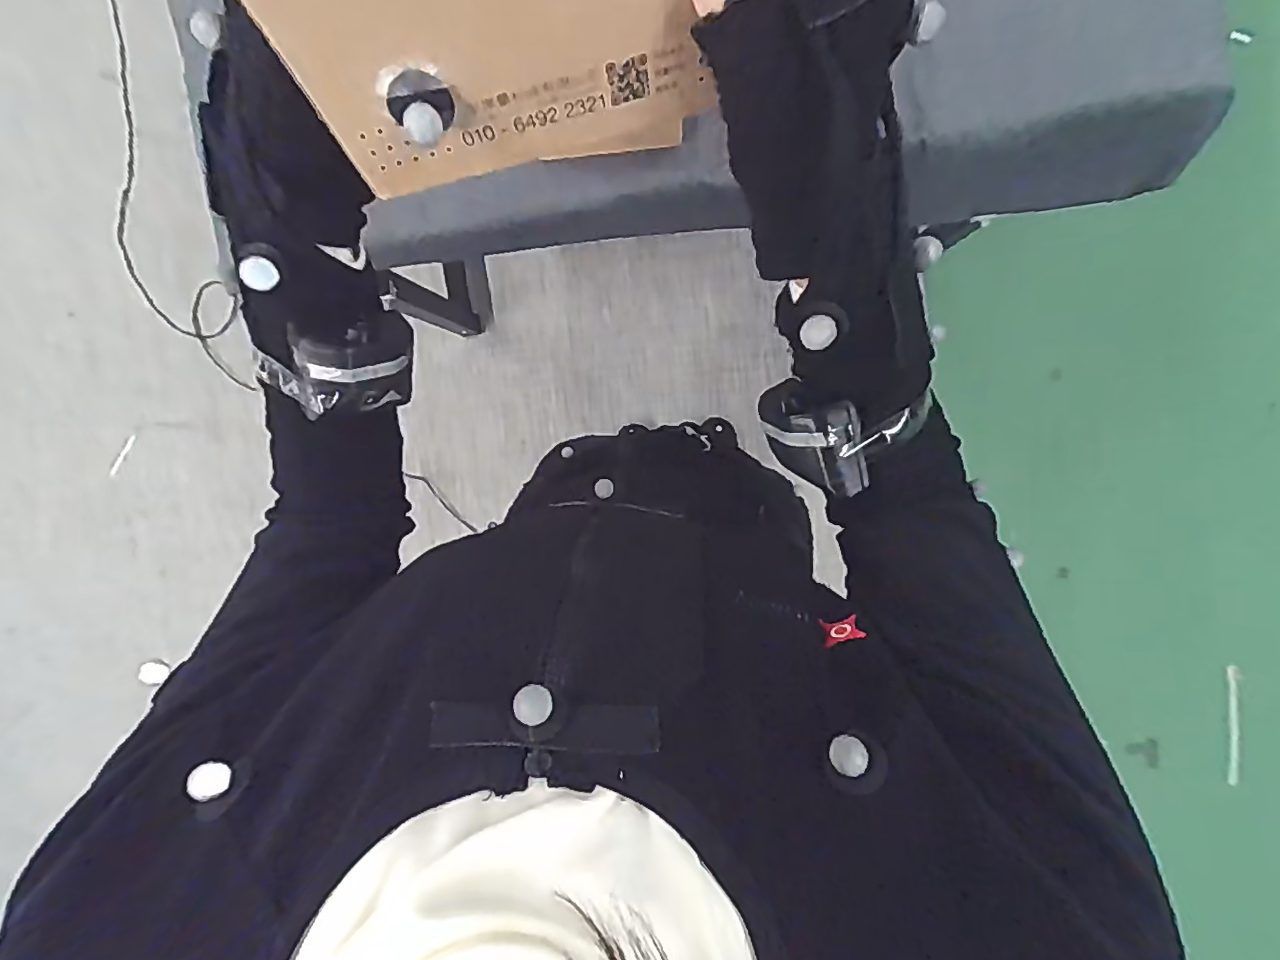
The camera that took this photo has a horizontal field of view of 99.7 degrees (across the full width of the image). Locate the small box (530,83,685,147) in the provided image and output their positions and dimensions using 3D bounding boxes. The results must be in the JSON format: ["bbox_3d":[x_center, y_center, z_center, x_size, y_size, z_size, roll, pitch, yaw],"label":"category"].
[{"bbox_3d":[-0.044,-0.481,0.571,0.179,0.176,0.168,-3,95,6],"label":"small box"}]

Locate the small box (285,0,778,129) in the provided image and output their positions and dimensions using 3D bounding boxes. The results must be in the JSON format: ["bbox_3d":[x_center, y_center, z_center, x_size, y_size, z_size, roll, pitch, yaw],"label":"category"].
[{"bbox_3d":[-0.050,-0.244,0.164,0.168,0.176,0.179,-14,69,1],"label":"small box"}]
